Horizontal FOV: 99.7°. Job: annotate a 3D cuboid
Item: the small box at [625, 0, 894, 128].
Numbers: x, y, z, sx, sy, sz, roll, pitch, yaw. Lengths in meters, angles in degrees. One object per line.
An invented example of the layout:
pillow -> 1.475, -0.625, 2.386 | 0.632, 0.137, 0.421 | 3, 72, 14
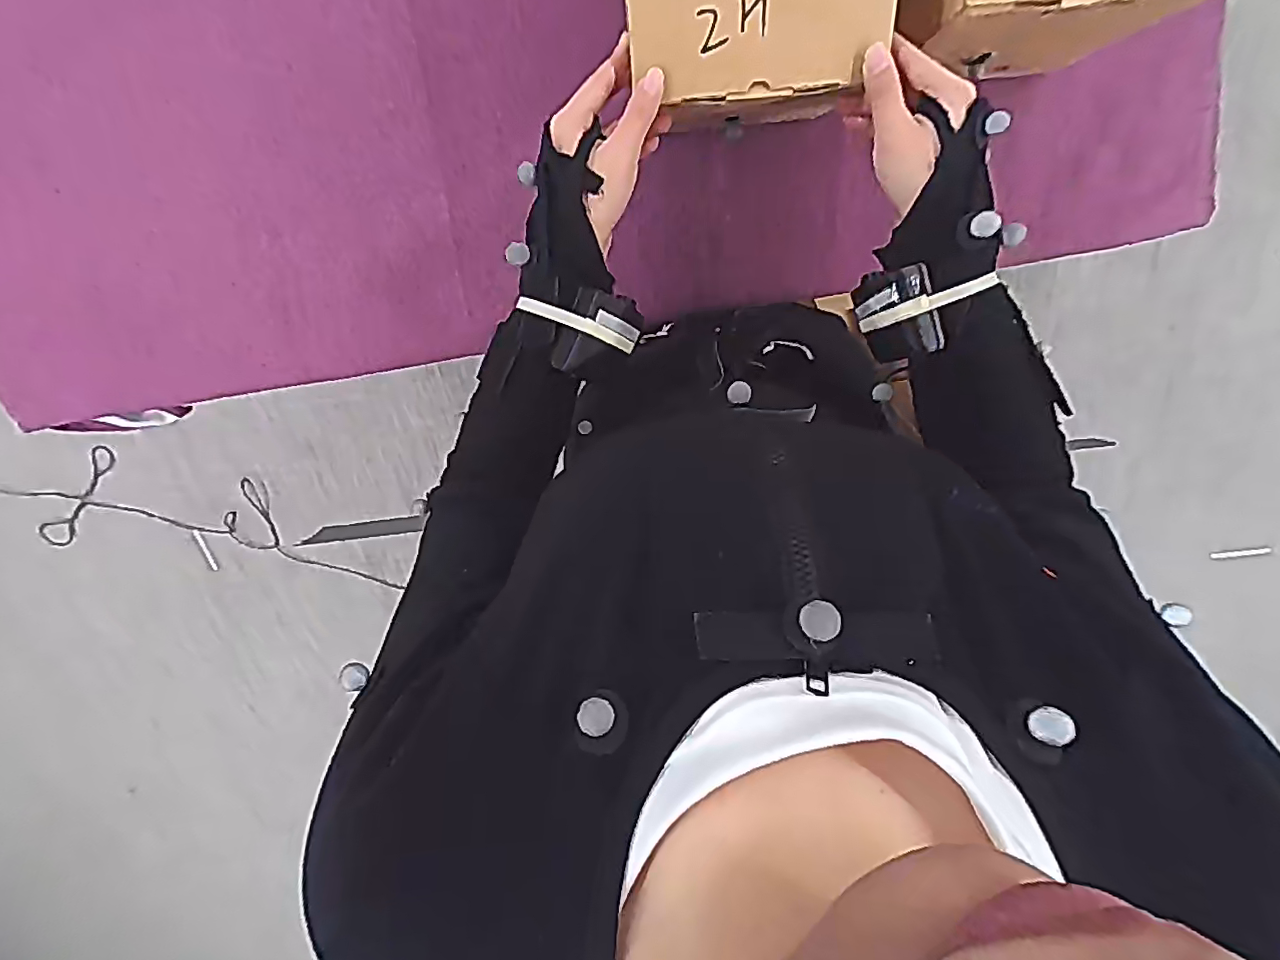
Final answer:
small box -> 0.071, -0.367, 0.381 | 0.168, 0.176, 0.179 | -4, 118, 4

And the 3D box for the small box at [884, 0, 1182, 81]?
small box -> 0.278, -0.411, 0.373 | 0.168, 0.176, 0.179 | -4, 113, 4
